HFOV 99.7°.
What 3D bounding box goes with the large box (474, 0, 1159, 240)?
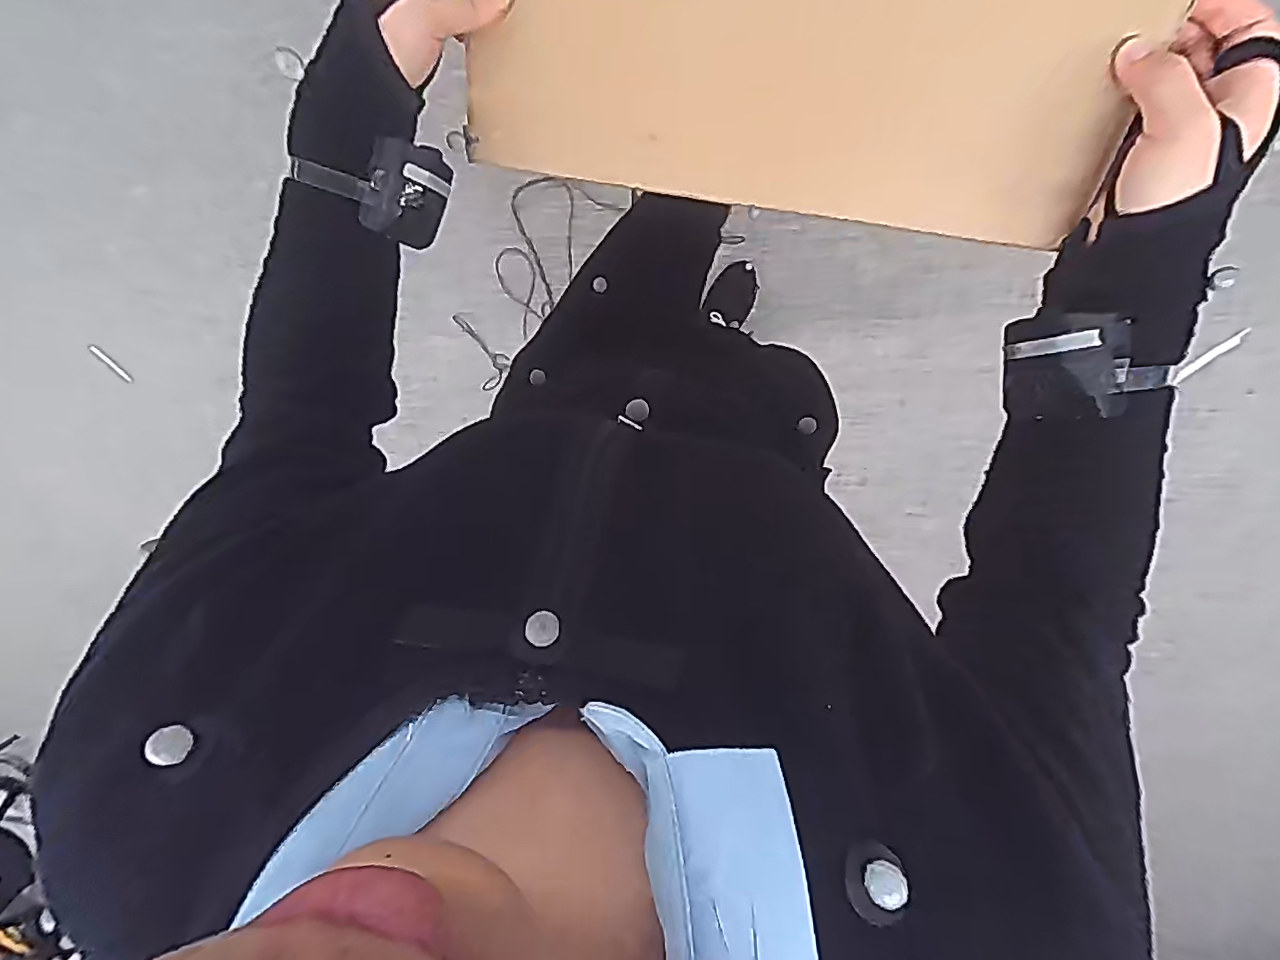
[{"bbox_3d":[0.127,-0.394,0.427,0.408,0.320,0.320,13,119,10],"label":"large box"}]
